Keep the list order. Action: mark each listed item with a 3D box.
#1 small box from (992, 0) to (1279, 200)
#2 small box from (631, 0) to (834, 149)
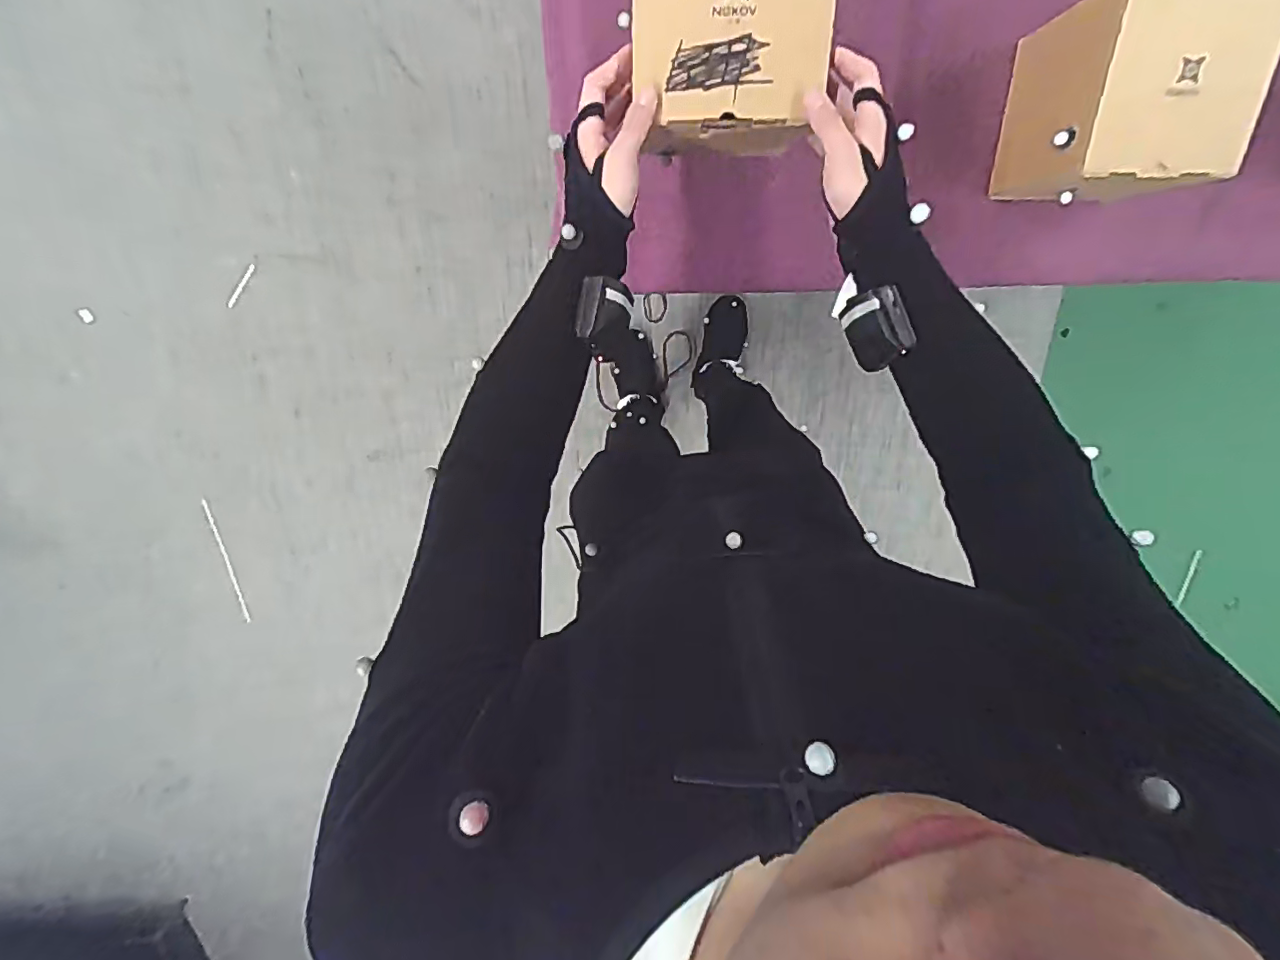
[{"bbox_3d":[0.538,-0.425,0.609,0.168,0.176,0.179,0,112,0],"label":"small box"},{"bbox_3d":[0.078,-0.423,0.507,0.168,0.176,0.179,1,112,1],"label":"small box"}]
